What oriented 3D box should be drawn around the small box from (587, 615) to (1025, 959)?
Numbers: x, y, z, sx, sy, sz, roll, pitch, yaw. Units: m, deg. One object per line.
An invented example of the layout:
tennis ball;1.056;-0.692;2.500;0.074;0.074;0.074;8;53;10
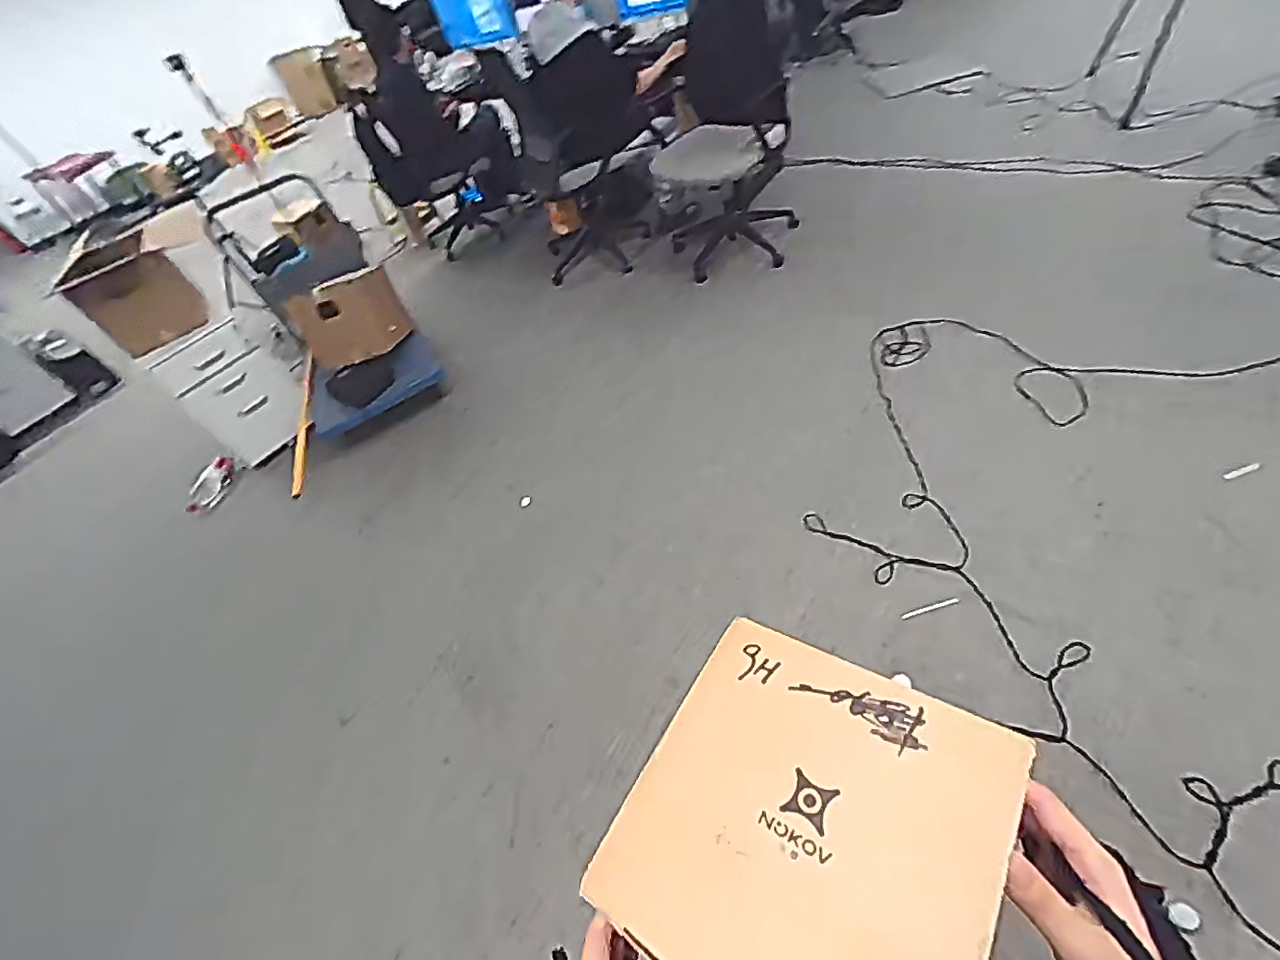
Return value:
small box;0.105;0.222;0.328;0.168;0.176;0.179;17;56;36
